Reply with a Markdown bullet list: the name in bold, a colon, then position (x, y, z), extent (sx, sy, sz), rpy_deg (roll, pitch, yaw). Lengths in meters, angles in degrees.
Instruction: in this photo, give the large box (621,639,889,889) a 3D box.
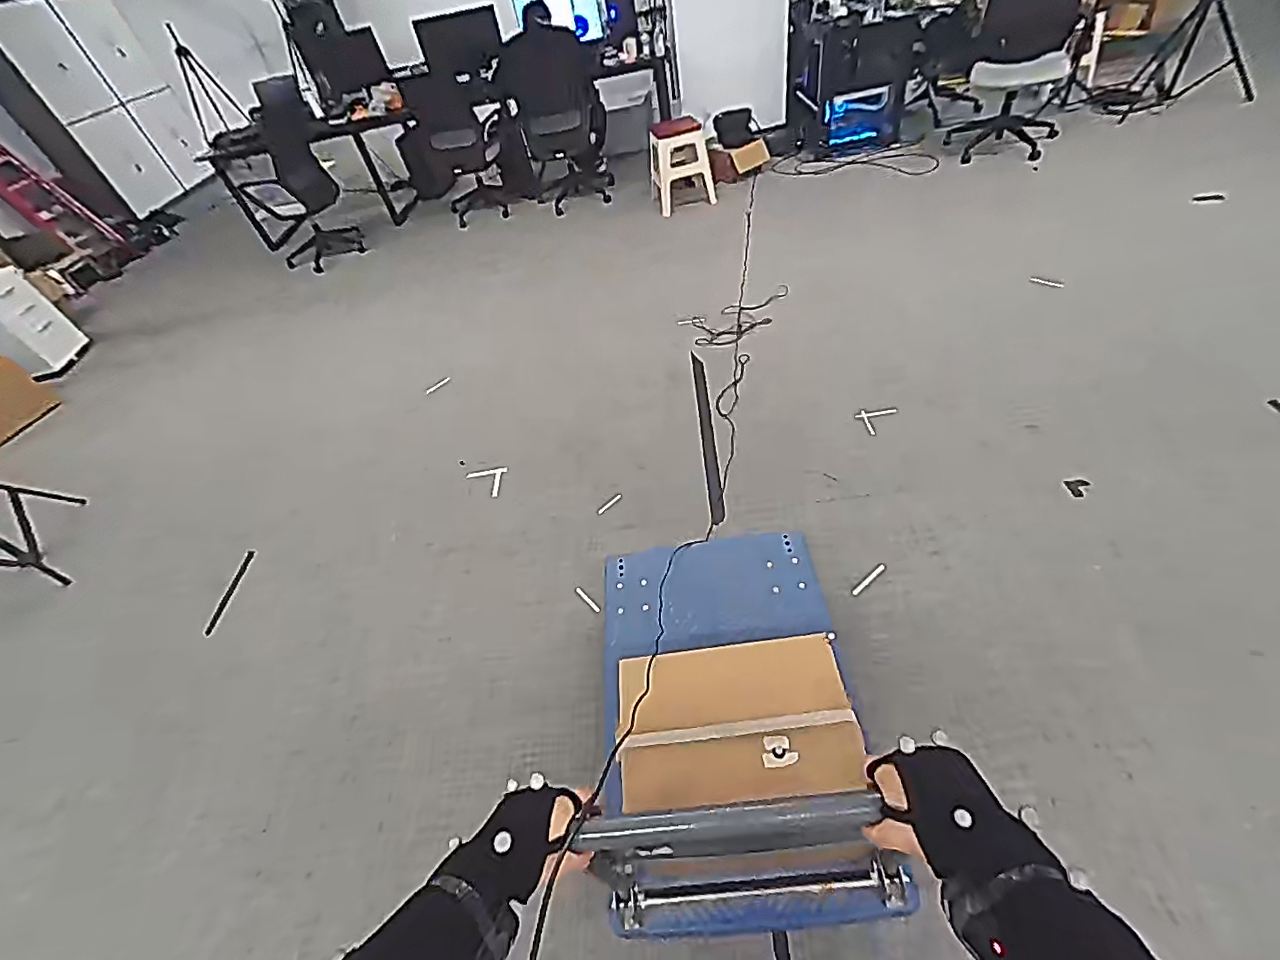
- **large box**: position (0.191, 0.540, 1.022), extent (0.408, 0.320, 0.320), rpy_deg (-9, 46, 5)
